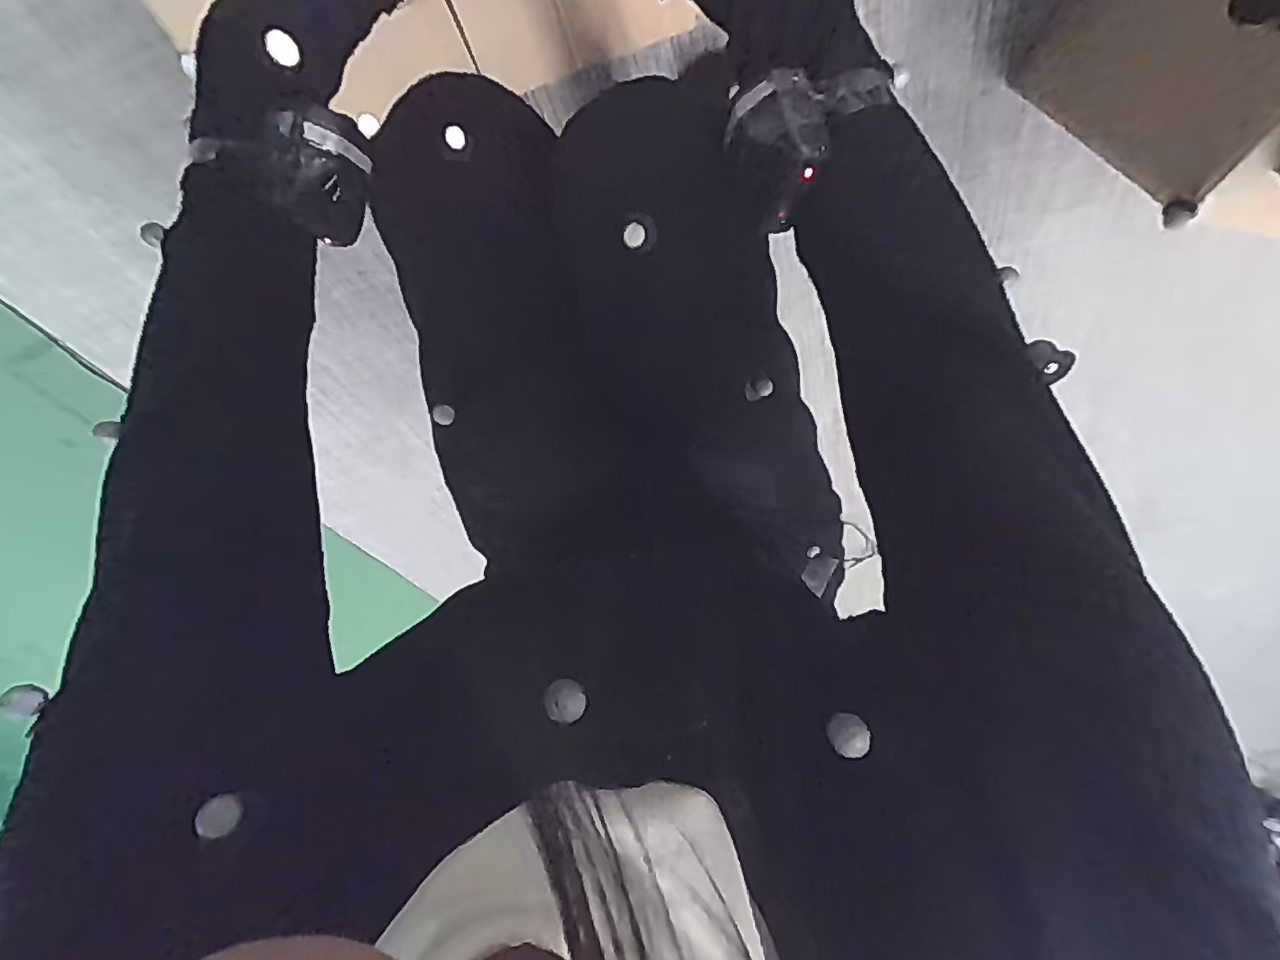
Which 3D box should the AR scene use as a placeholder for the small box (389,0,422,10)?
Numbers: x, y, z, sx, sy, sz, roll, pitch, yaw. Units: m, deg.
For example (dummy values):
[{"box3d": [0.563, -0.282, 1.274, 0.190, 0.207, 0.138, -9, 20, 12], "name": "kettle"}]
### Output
[{"box3d": [-0.118, -0.464, 0.366, 0.179, 0.176, 0.168, -13, 136, 16], "name": "small box"}]
